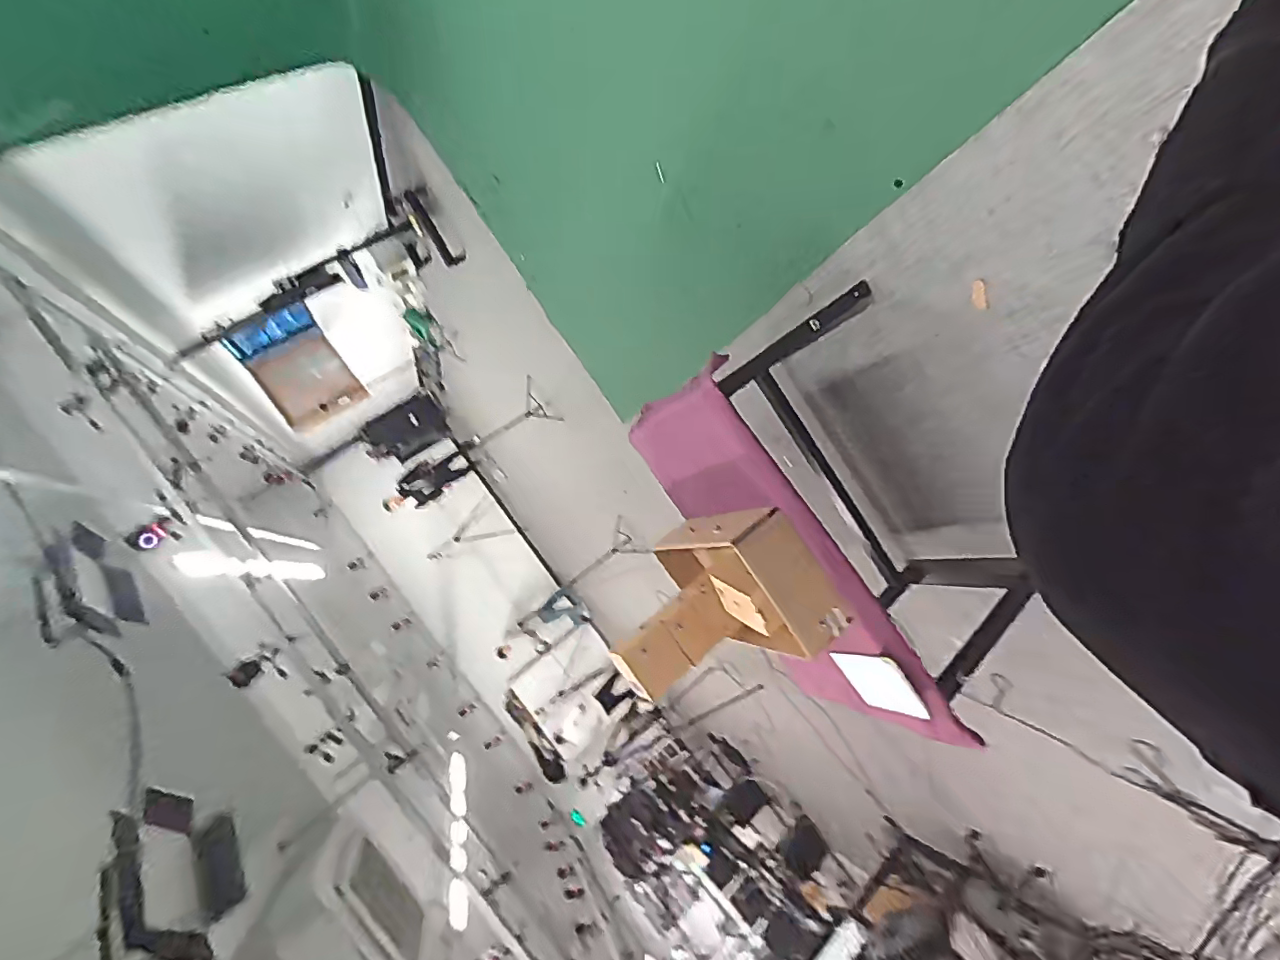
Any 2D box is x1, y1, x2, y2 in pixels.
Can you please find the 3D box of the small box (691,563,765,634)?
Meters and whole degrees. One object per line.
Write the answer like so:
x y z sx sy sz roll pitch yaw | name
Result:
0.296 0.395 1.834 0.168 0.176 0.179 56 157 -5 | small box

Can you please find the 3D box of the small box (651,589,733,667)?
0.173 0.479 1.771 0.179 0.176 0.168 55 158 -2 | small box
